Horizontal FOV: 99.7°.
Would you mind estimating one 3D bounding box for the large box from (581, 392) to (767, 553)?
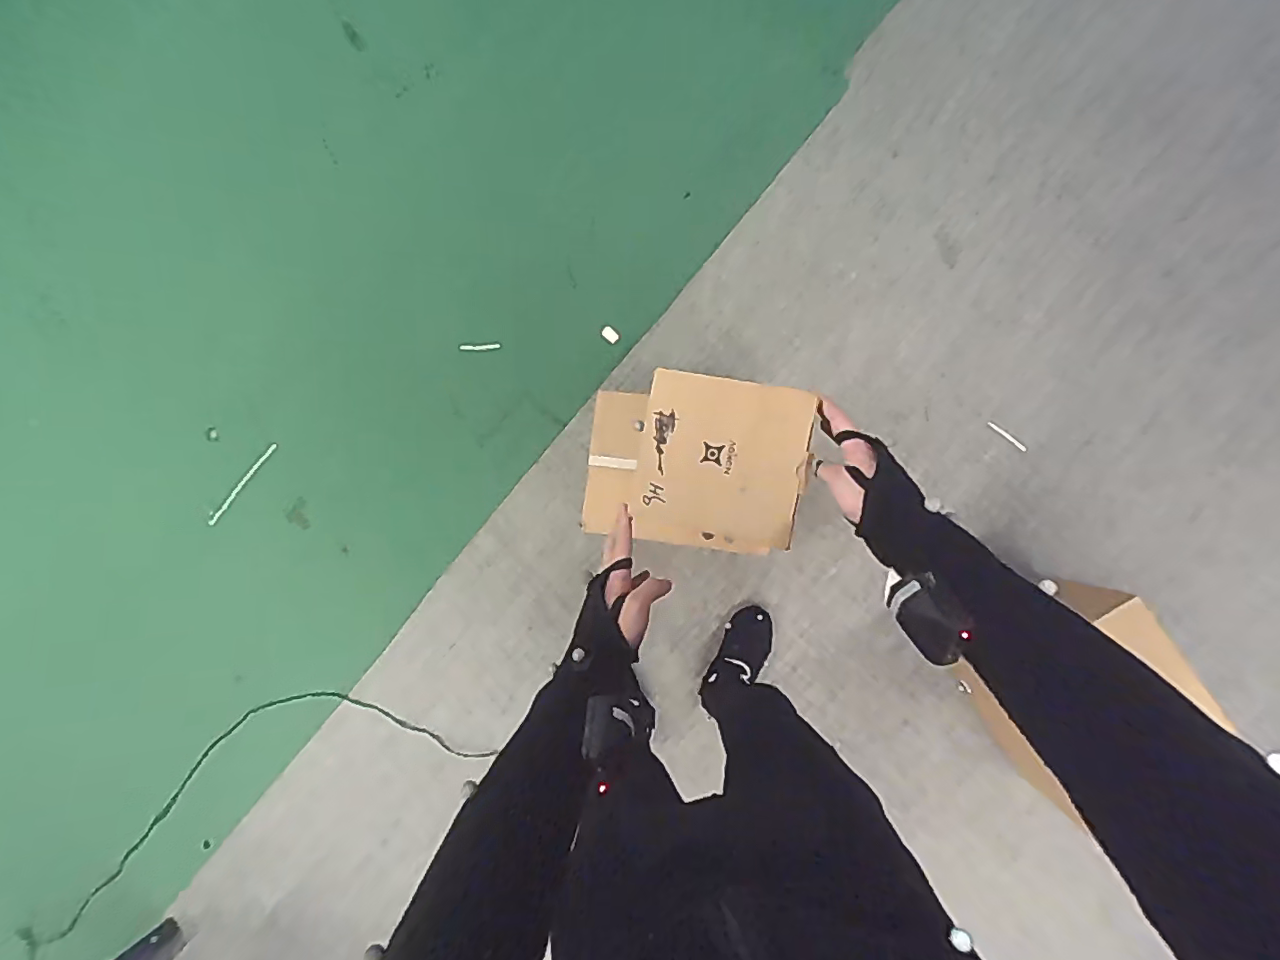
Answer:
[{"bbox_3d":[0.106,-0.013,1.291,0.408,0.320,0.320,7,87,9],"label":"large box"}]

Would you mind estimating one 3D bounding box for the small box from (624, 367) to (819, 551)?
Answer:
[{"bbox_3d":[0.094,-0.023,0.642,0.179,0.176,0.168,12,90,9],"label":"small box"}]
